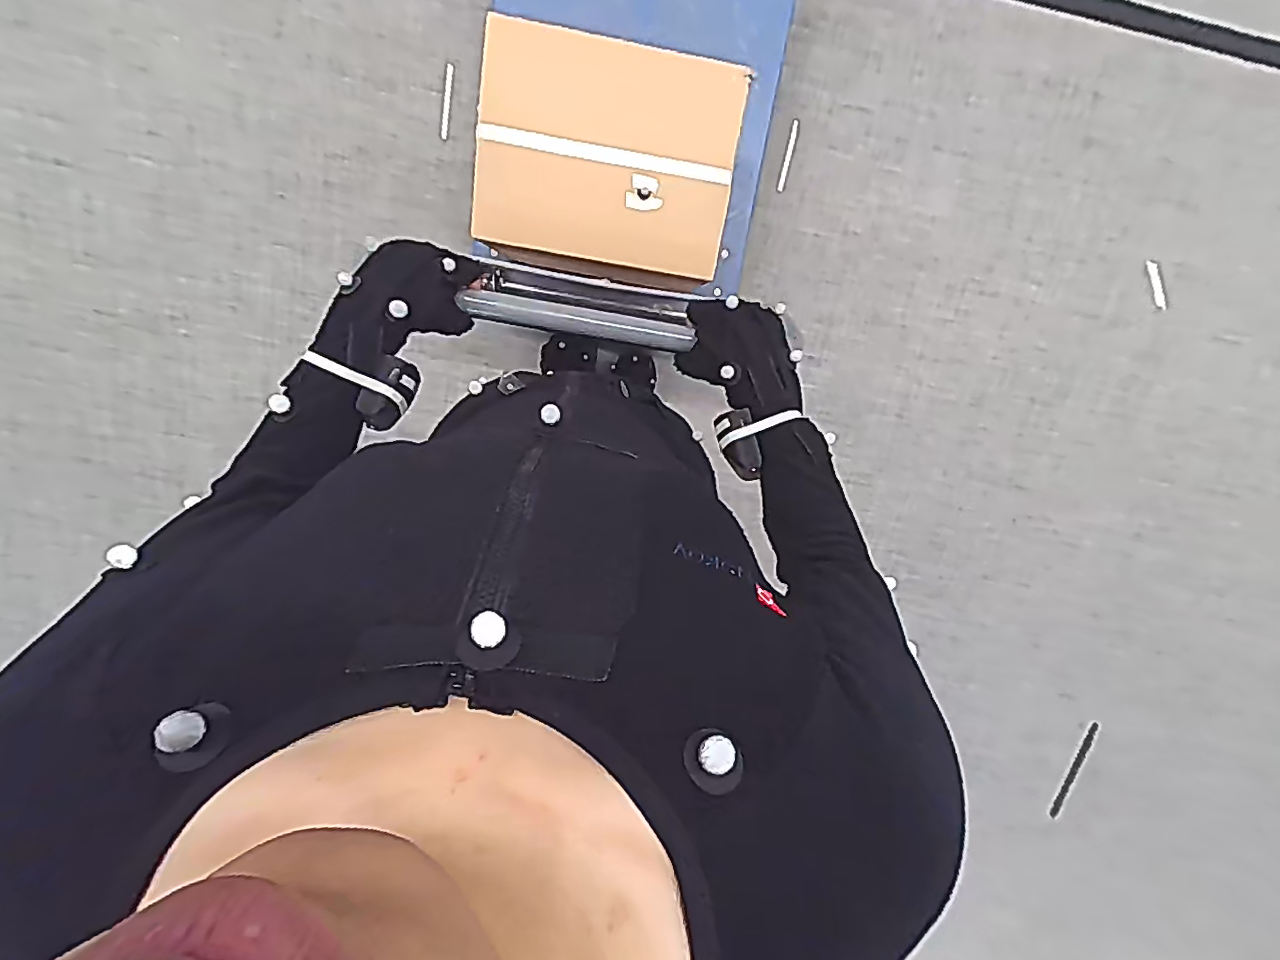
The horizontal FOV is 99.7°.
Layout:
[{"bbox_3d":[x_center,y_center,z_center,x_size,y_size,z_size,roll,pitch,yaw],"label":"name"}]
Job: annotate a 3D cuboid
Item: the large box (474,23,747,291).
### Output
[{"bbox_3d":[-0.061,-0.544,0.991,0.408,0.320,0.320,8,106,-5],"label":"large box"}]
